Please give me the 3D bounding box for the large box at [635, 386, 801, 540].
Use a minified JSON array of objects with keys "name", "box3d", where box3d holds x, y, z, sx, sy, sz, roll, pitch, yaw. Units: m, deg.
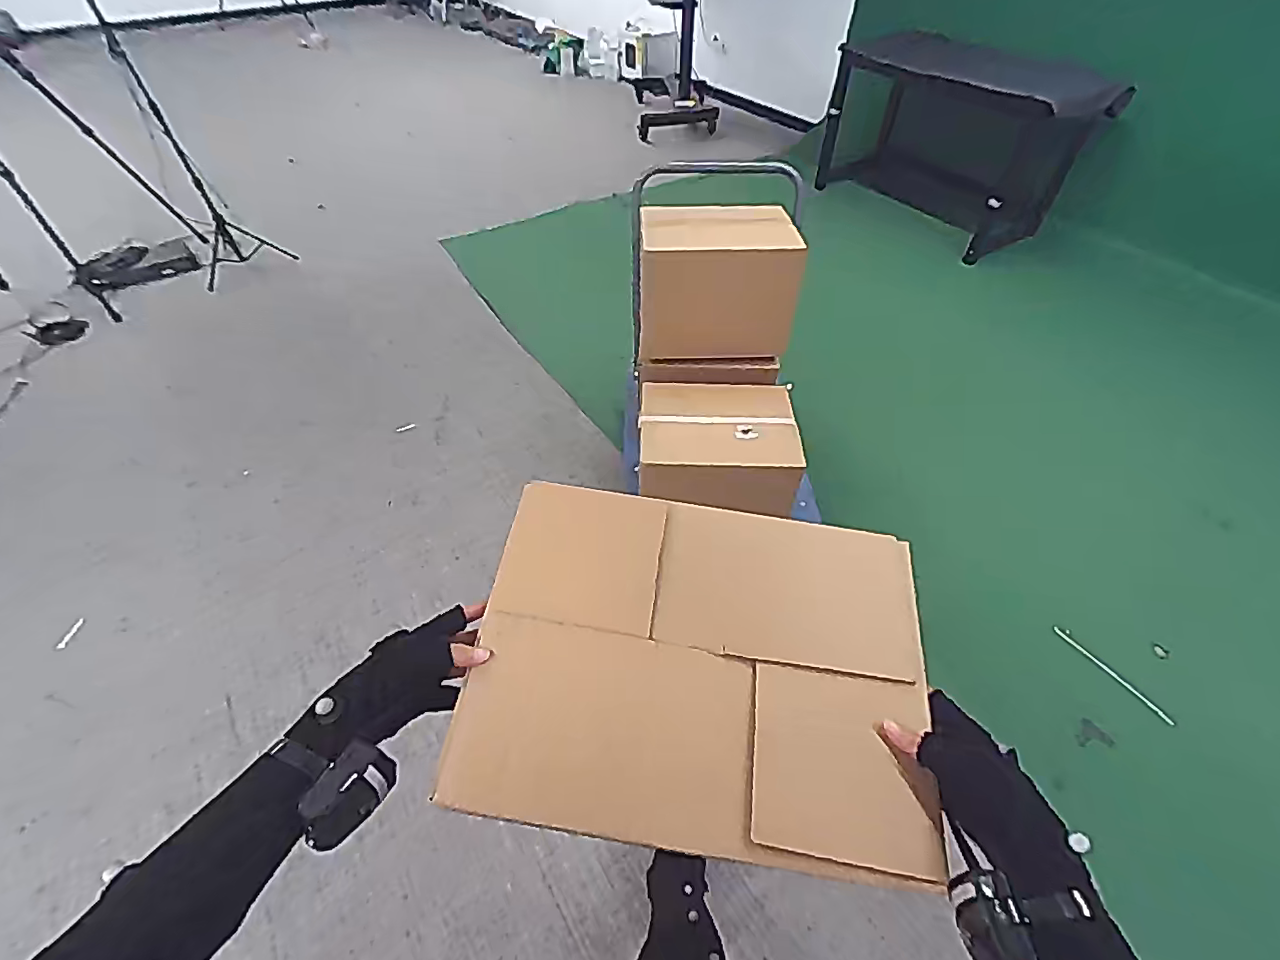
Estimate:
[{"name":"large box","box3d":[0.191,-0.045,1.517,0.408,0.320,0.320,2,48,0]}]
